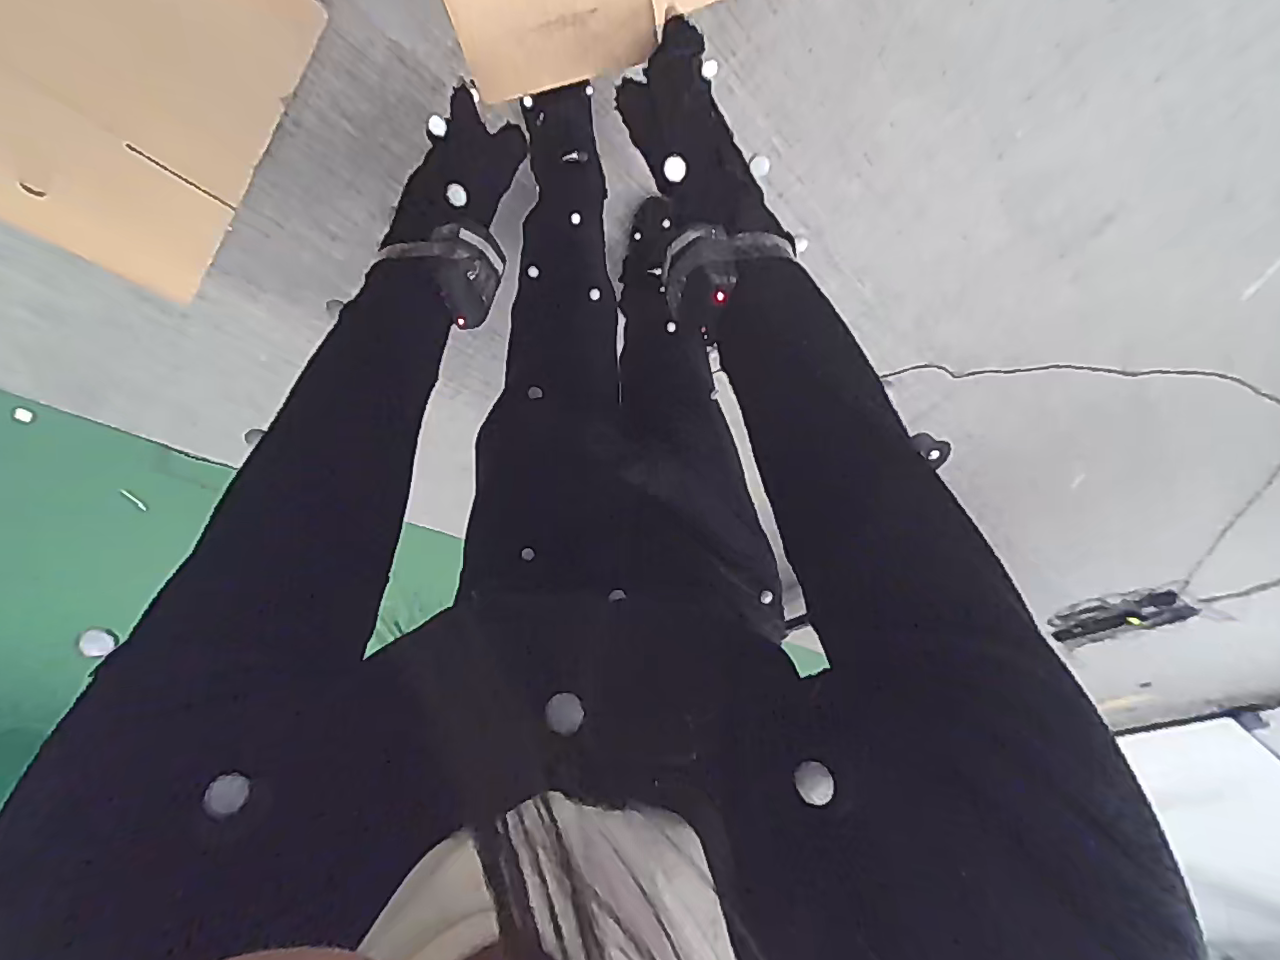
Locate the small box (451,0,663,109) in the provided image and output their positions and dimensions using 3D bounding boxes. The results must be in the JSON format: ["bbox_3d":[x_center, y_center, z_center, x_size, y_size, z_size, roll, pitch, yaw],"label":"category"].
[{"bbox_3d":[-0.082,-0.470,0.467,0.168,0.176,0.179,-11,146,7],"label":"small box"}]
